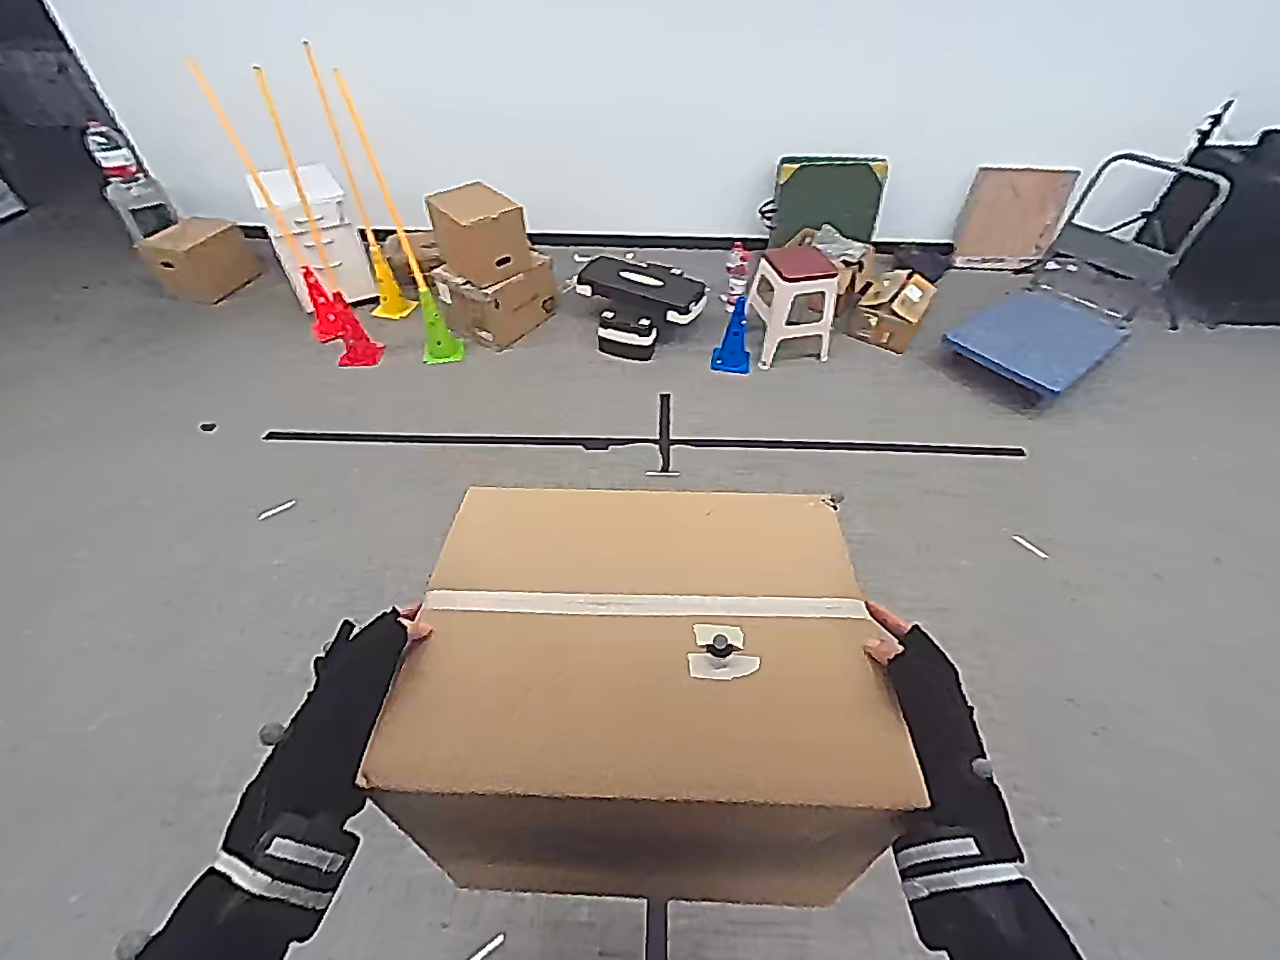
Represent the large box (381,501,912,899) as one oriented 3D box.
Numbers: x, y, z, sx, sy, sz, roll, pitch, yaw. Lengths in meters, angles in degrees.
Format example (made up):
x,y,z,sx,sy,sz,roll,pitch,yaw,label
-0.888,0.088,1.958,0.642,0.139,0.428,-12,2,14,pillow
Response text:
x,y,z,sx,sy,sz,roll,pitch,yaw,label
0.006,0.240,0.606,0.408,0.320,0.320,2,42,2,large box
